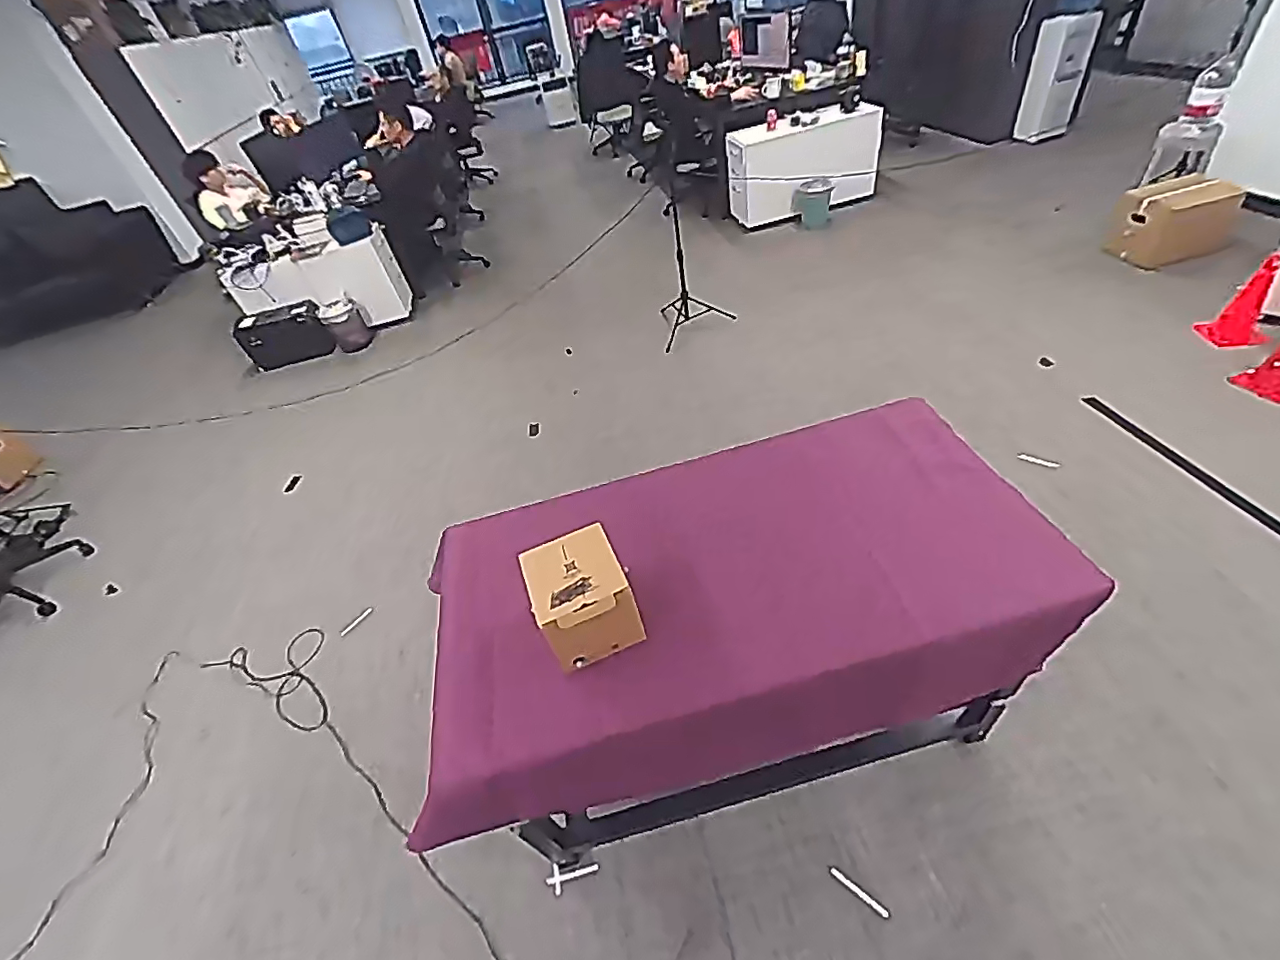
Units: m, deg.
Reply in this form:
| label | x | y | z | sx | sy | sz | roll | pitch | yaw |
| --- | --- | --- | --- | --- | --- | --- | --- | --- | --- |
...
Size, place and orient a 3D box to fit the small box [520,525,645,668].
| label | x | y | z | sx | sy | sz | roll | pitch | yaw |
| --- | --- | --- | --- | --- | --- | --- | --- | --- | --- |
| small box | -0.104 | 0.223 | 1.002 | 0.168 | 0.176 | 0.179 | -22 | 43 | -9 |
